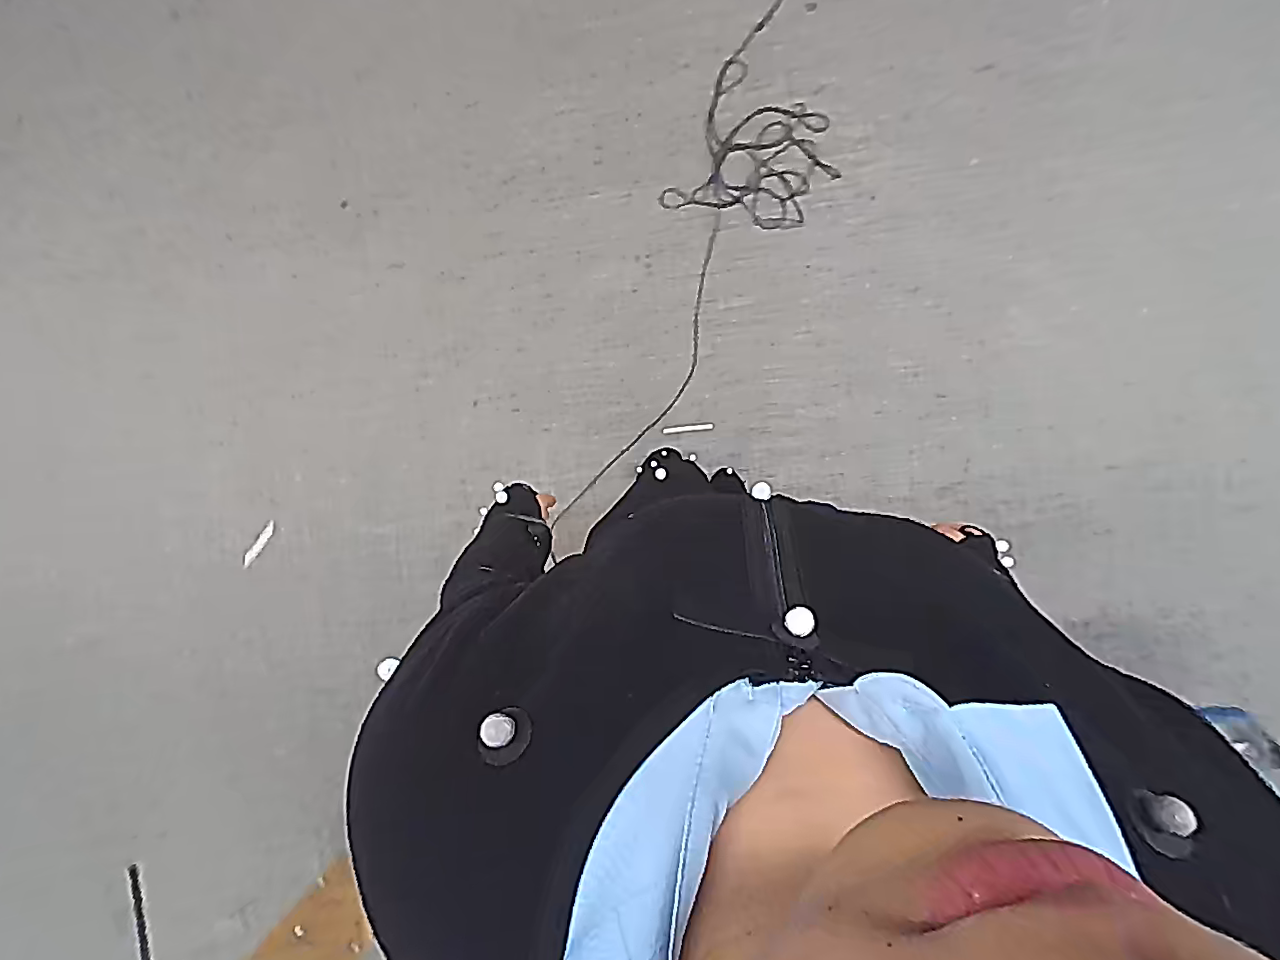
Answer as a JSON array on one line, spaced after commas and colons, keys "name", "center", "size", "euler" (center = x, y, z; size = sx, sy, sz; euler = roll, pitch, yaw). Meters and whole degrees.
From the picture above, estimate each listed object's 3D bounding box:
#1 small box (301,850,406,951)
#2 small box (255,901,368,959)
[{"name": "small box", "center": [-0.801, 1.193, 1.525], "size": [0.179, 0.176, 0.168], "euler": [-18, 91, 5]}, {"name": "small box", "center": [-0.820, 1.205, 1.363], "size": [0.179, 0.176, 0.168], "euler": [-6, 91, 4]}]
